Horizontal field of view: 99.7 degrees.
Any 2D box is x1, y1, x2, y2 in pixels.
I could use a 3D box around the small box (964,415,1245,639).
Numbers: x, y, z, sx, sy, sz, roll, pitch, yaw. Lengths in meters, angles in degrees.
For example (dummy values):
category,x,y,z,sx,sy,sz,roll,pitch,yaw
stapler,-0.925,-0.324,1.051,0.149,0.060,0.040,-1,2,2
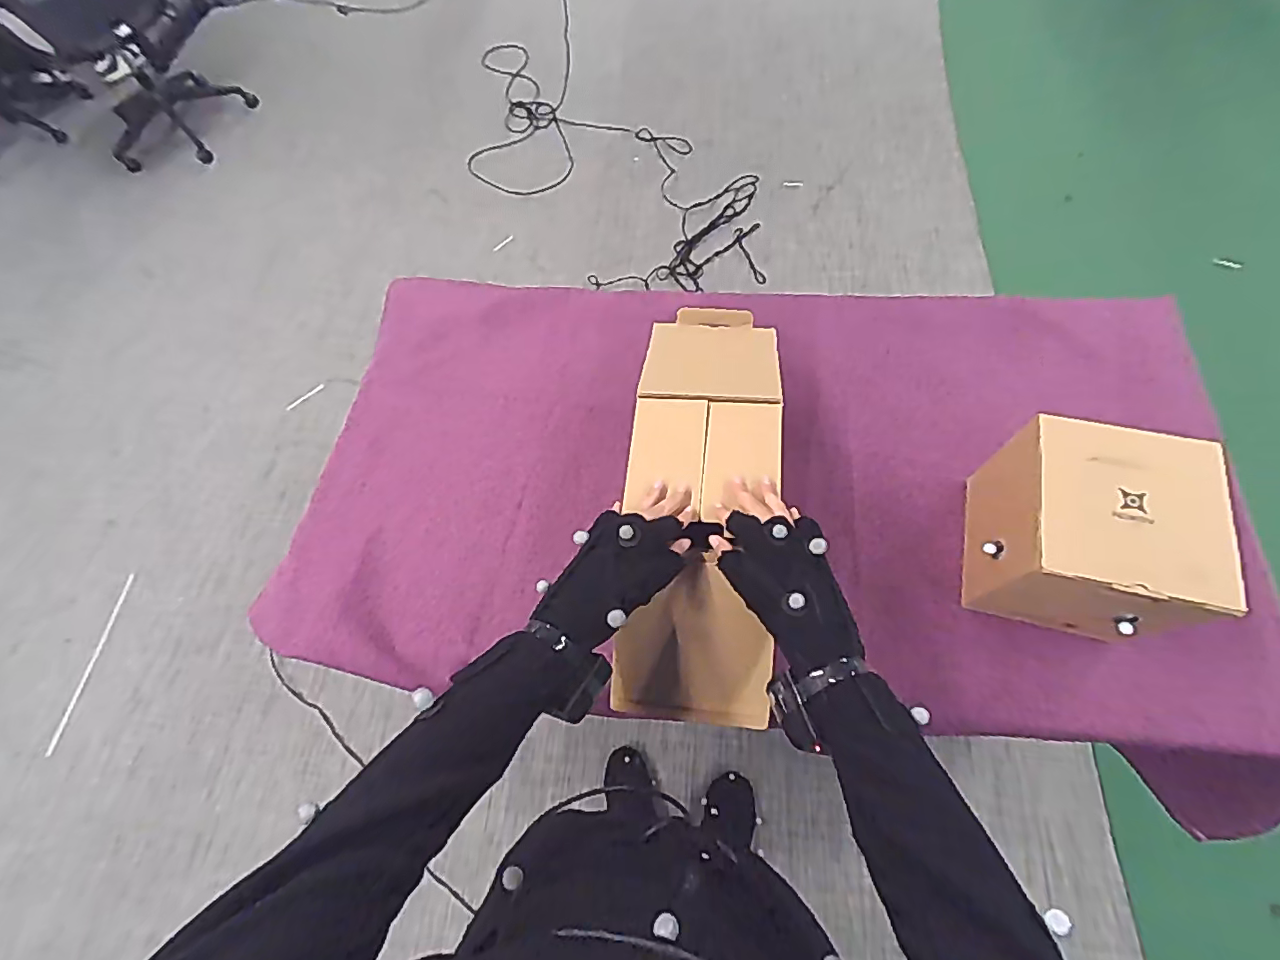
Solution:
category,x,y,z,sx,sy,sz,roll,pitch,yaw
small box,0.476,0.059,0.586,0.168,0.176,0.179,13,67,12
